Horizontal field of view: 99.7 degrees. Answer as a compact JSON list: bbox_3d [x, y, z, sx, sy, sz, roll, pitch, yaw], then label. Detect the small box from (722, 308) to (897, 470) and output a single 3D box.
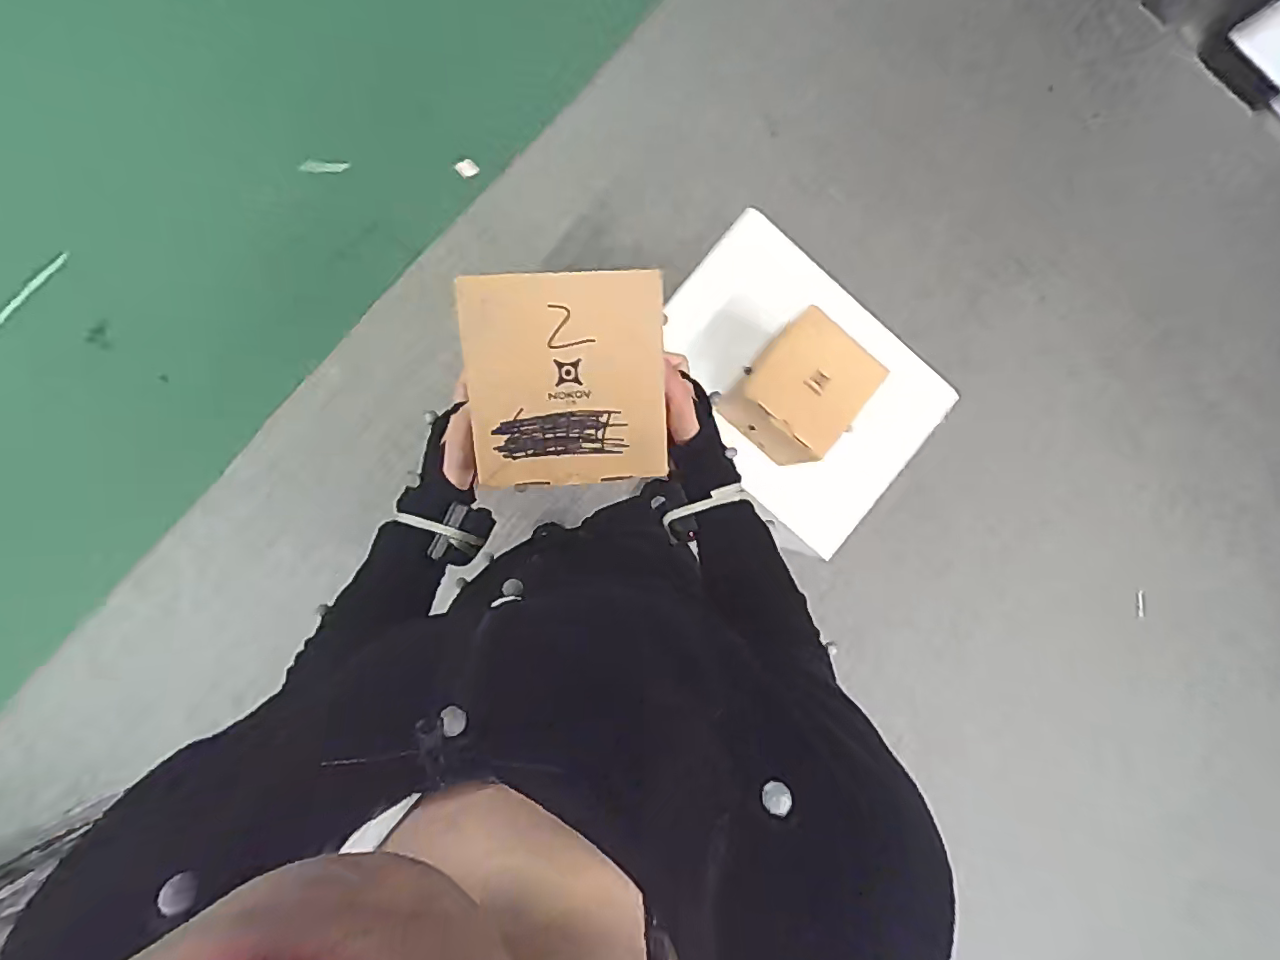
[{"bbox_3d":[0.255,-0.133,0.861,0.168,0.176,0.179,41,84,-3],"label":"small box"}]
